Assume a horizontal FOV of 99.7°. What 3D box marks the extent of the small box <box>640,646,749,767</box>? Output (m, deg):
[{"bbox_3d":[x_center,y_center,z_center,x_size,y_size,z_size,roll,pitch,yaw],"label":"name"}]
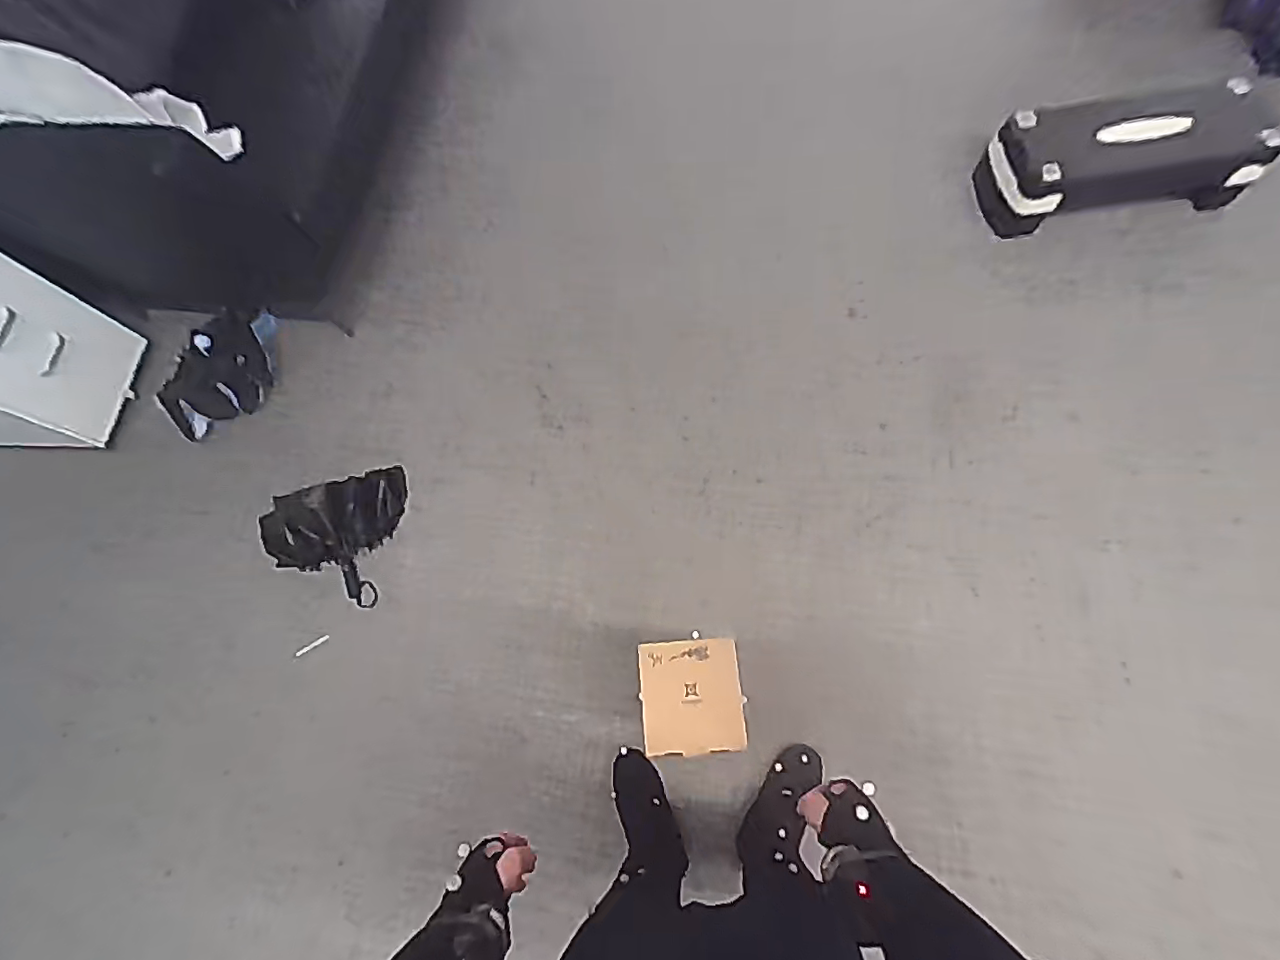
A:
[{"bbox_3d":[0.096,0.389,0.952,0.168,0.176,0.179,-6,71,5],"label":"small box"}]
